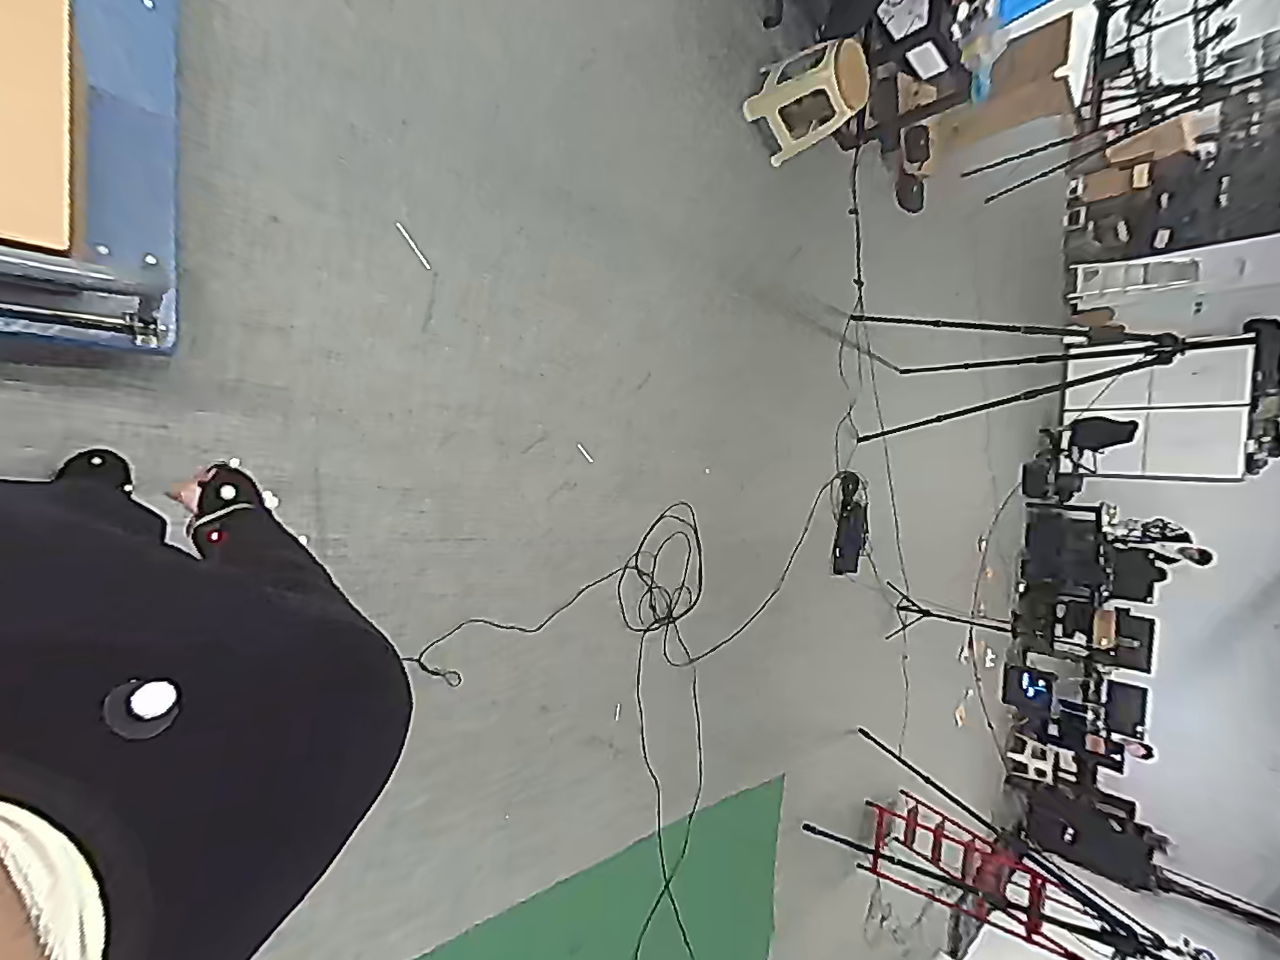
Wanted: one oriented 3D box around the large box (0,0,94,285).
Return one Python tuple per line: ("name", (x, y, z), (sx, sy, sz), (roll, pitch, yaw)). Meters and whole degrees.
("large box", (-1.055, -0.551, 0.806), (0.320, 0.320, 0.408), (-1, 93, -42))
